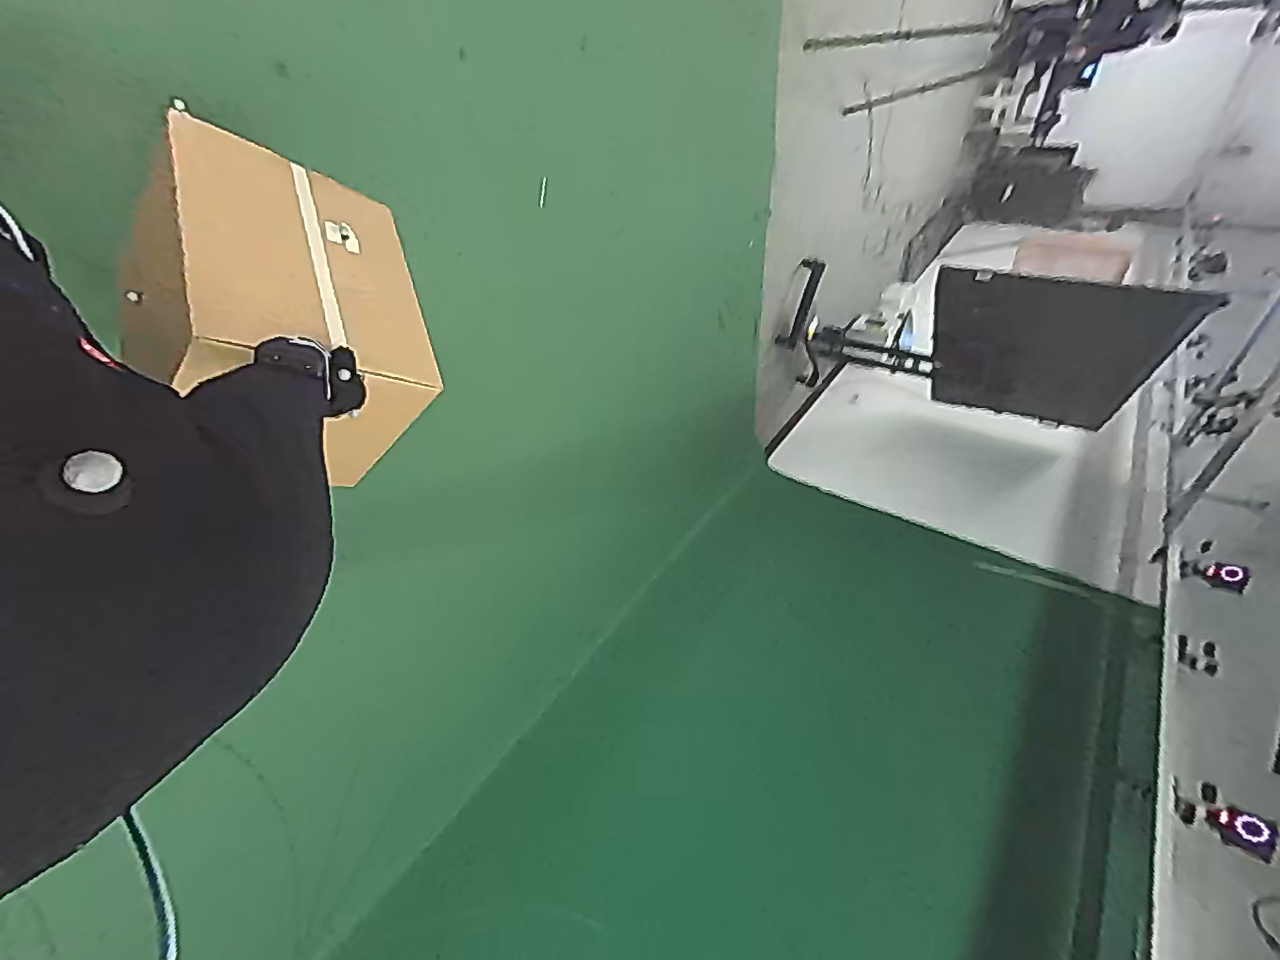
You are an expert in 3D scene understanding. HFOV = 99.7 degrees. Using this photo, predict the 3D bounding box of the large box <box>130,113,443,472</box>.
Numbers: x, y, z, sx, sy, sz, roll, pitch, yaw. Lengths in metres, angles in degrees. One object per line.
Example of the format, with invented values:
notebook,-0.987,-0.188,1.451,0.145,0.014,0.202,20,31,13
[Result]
large box,-0.581,-0.258,0.877,0.320,0.408,0.320,-36,157,30
